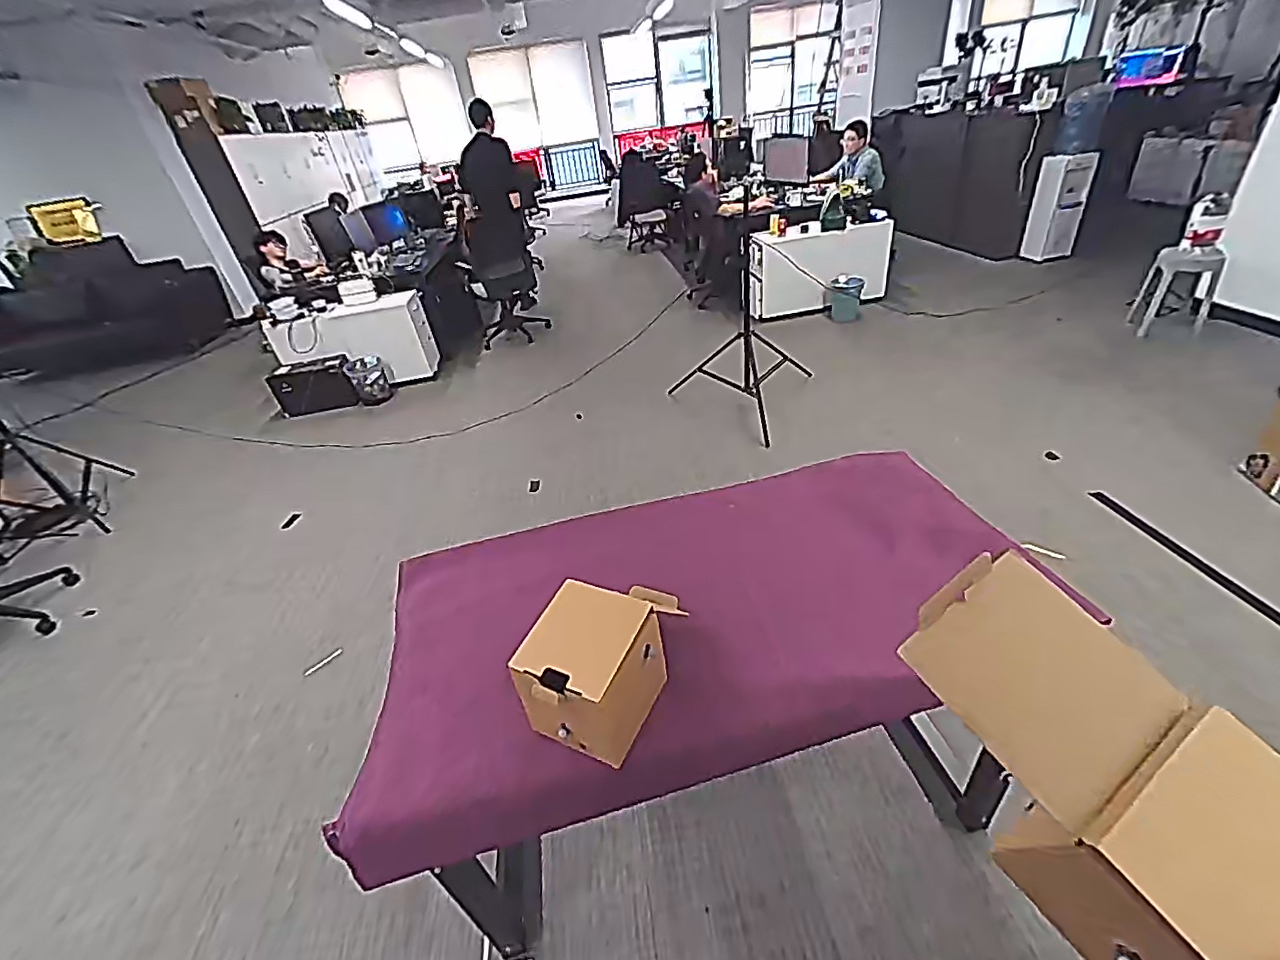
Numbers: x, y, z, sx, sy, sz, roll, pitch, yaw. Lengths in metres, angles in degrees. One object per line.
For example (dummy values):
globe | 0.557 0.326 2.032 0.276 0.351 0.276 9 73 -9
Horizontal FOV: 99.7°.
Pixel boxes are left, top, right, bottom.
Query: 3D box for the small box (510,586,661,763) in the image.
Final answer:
small box | -0.075 0.306 0.868 0.168 0.176 0.179 10 38 28
